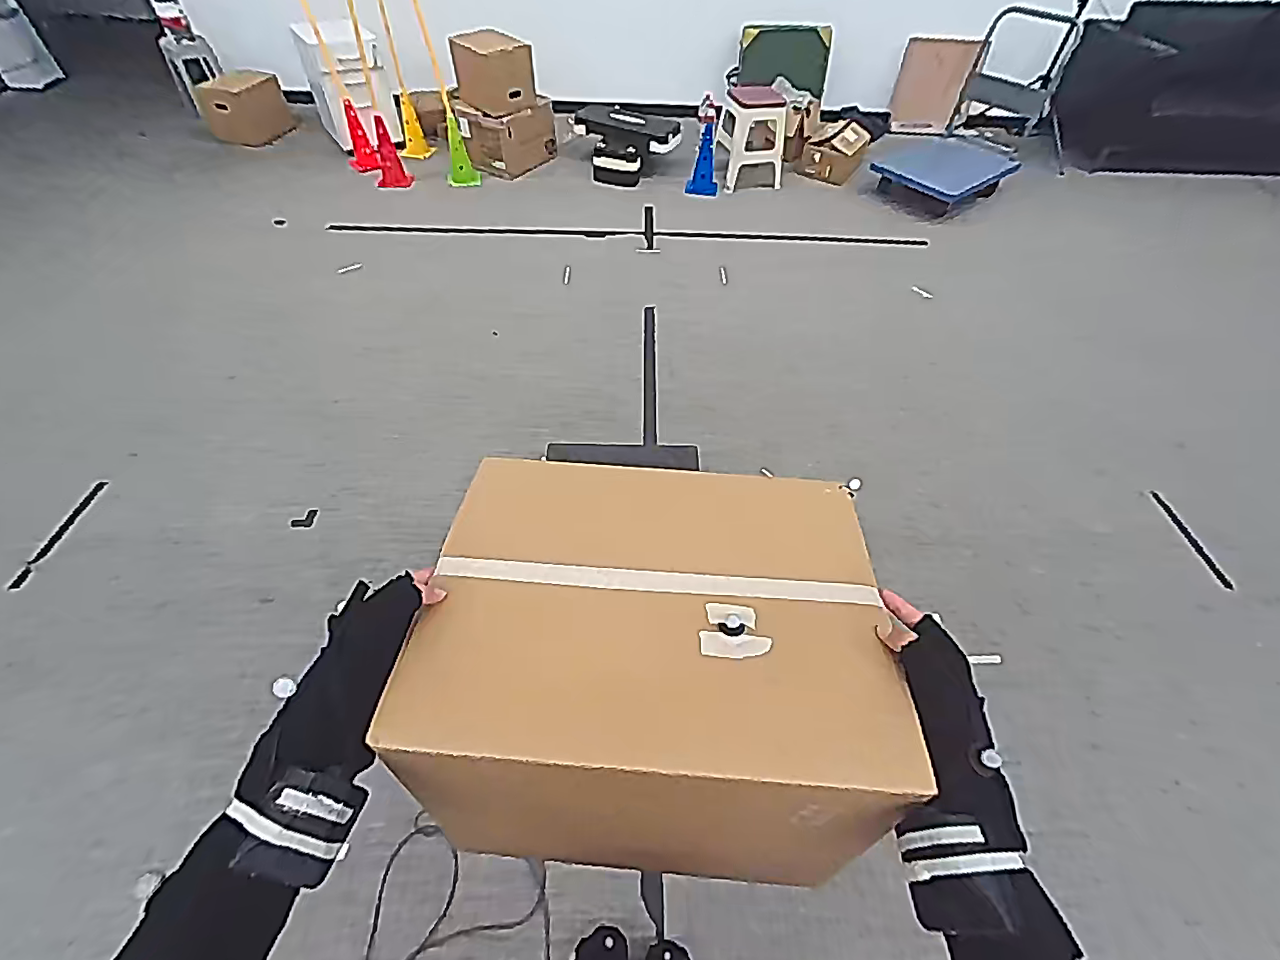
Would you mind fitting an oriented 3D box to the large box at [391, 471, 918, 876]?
[{"bbox_3d":[0.012,0.213,0.609,0.408,0.320,0.320,4,44,2],"label":"large box"}]
